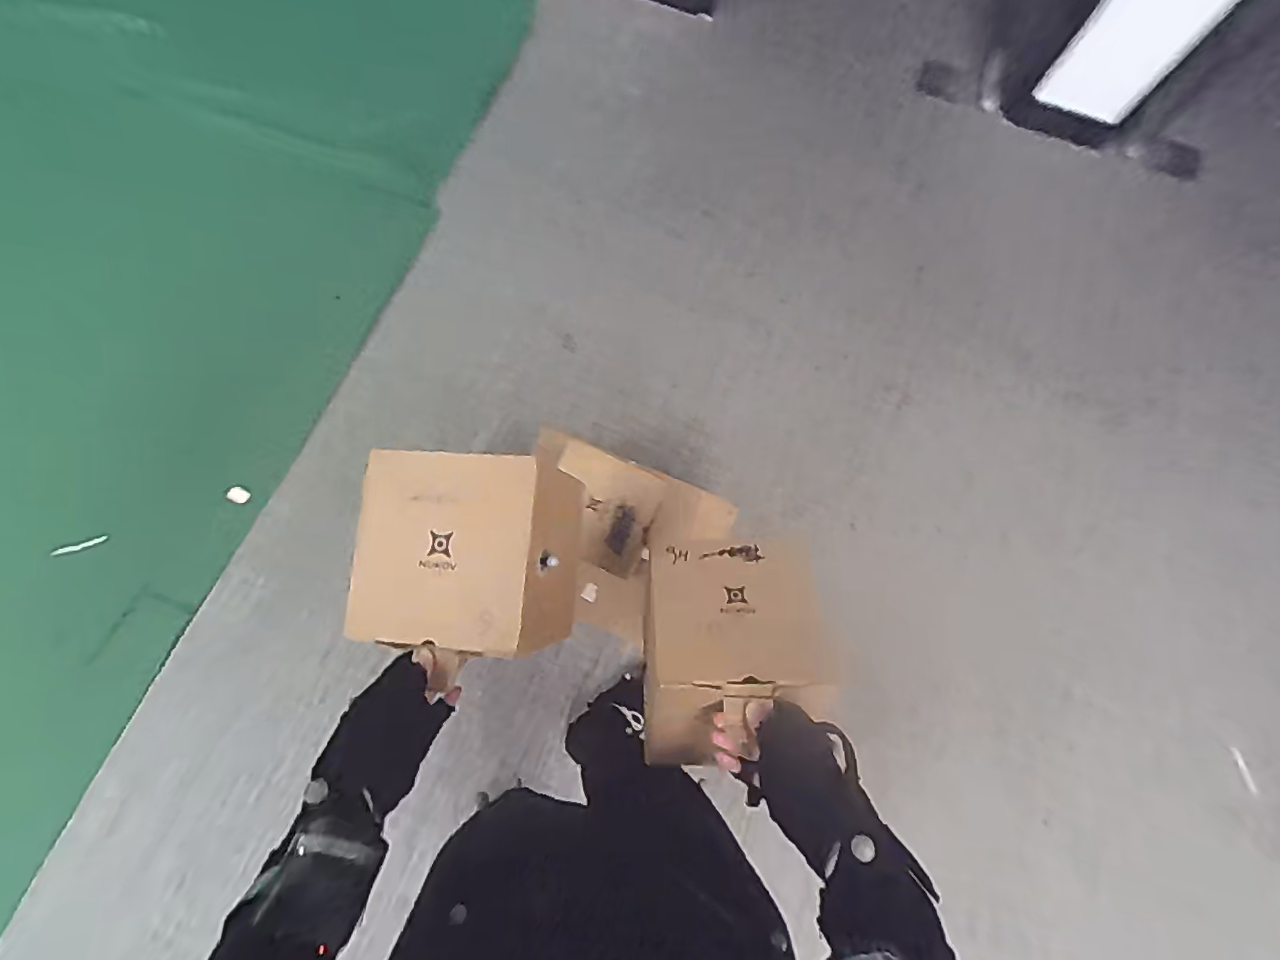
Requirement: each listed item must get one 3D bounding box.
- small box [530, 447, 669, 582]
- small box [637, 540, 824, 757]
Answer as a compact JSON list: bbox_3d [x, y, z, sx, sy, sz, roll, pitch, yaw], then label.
[{"bbox_3d":[-0.060,0.061,0.924,0.179,0.176,0.168,22,84,4],"label":"small box"},{"bbox_3d":[0.082,0.186,0.591,0.168,0.176,0.179,0,40,-2],"label":"small box"}]
